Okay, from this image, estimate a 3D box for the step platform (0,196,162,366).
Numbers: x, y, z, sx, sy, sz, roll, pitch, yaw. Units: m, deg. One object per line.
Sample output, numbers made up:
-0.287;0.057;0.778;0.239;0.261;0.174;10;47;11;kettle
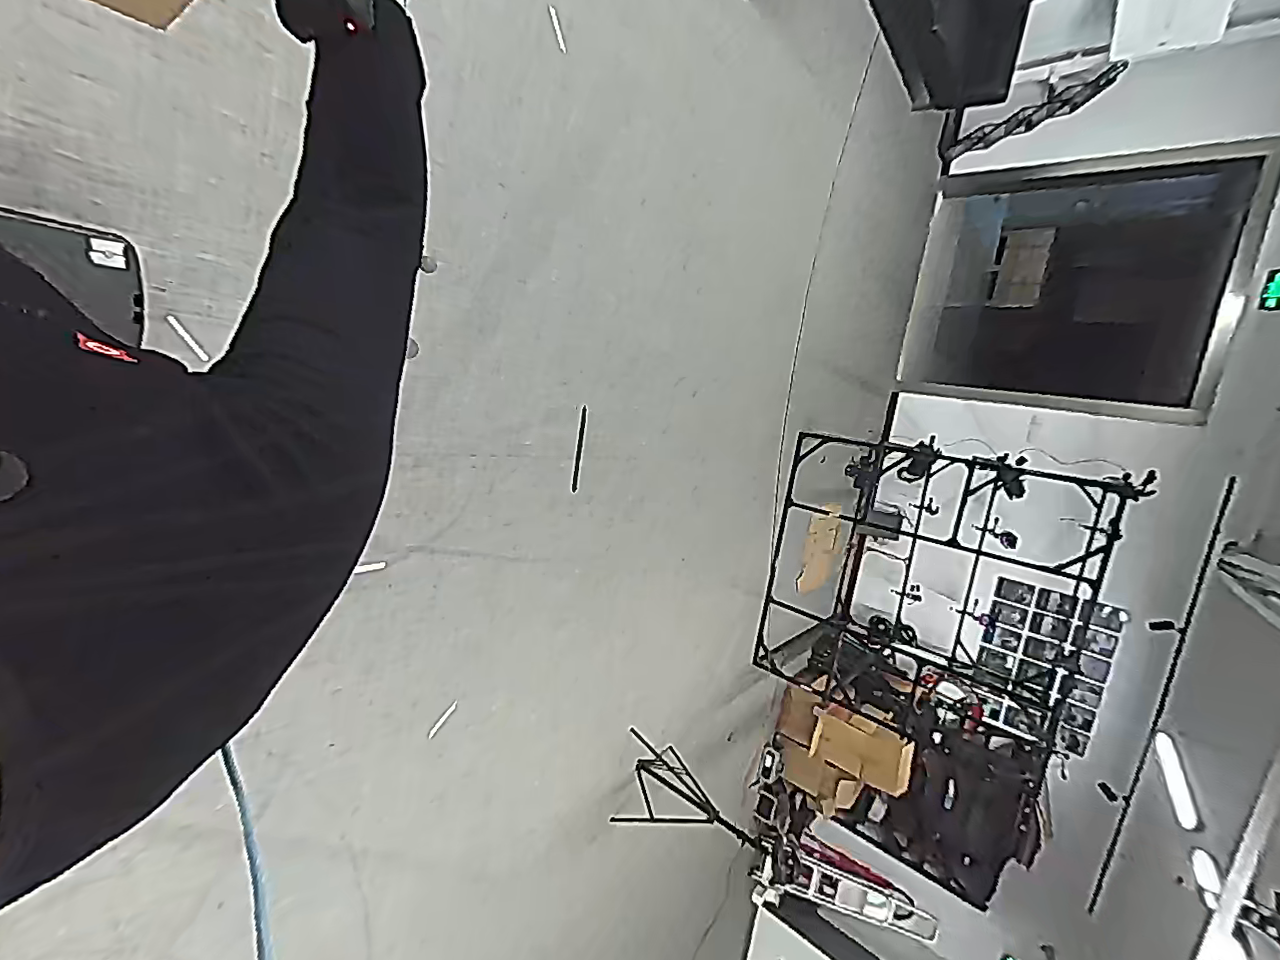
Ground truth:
-1.269;-0.373;0.920;0.684;0.204;0.286;-5;107;-52;step platform
